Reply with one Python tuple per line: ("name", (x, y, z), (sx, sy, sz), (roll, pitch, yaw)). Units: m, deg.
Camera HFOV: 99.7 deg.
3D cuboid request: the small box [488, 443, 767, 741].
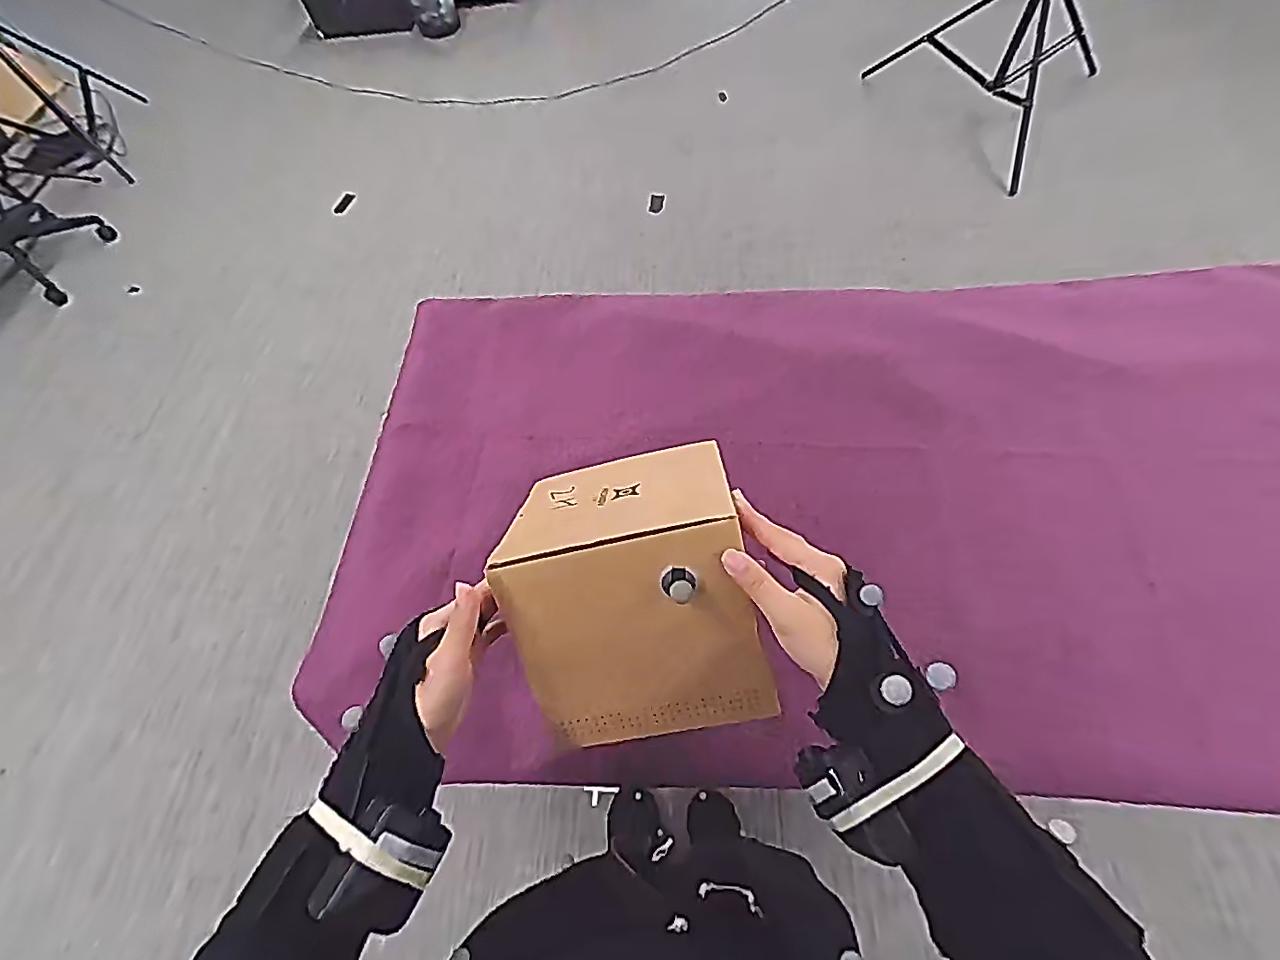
("small box", (0.004, 0.087, 0.457), (0.179, 0.176, 0.168), (-13, 19, 8))
